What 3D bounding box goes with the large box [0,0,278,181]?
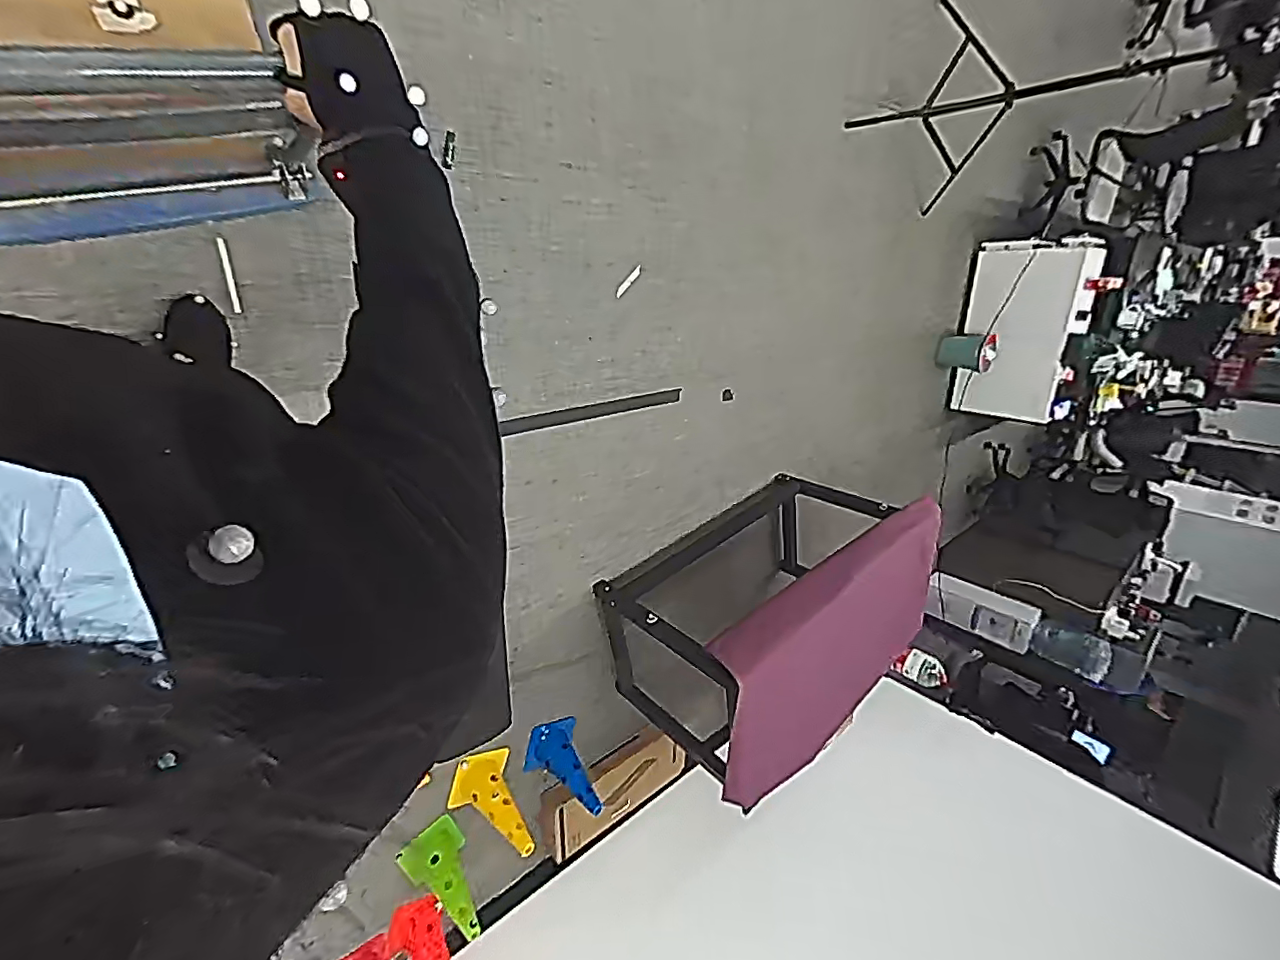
[{"bbox_3d":[-0.779,-0.602,0.701,0.408,0.320,0.320,-29,122,-33],"label":"large box"}]
